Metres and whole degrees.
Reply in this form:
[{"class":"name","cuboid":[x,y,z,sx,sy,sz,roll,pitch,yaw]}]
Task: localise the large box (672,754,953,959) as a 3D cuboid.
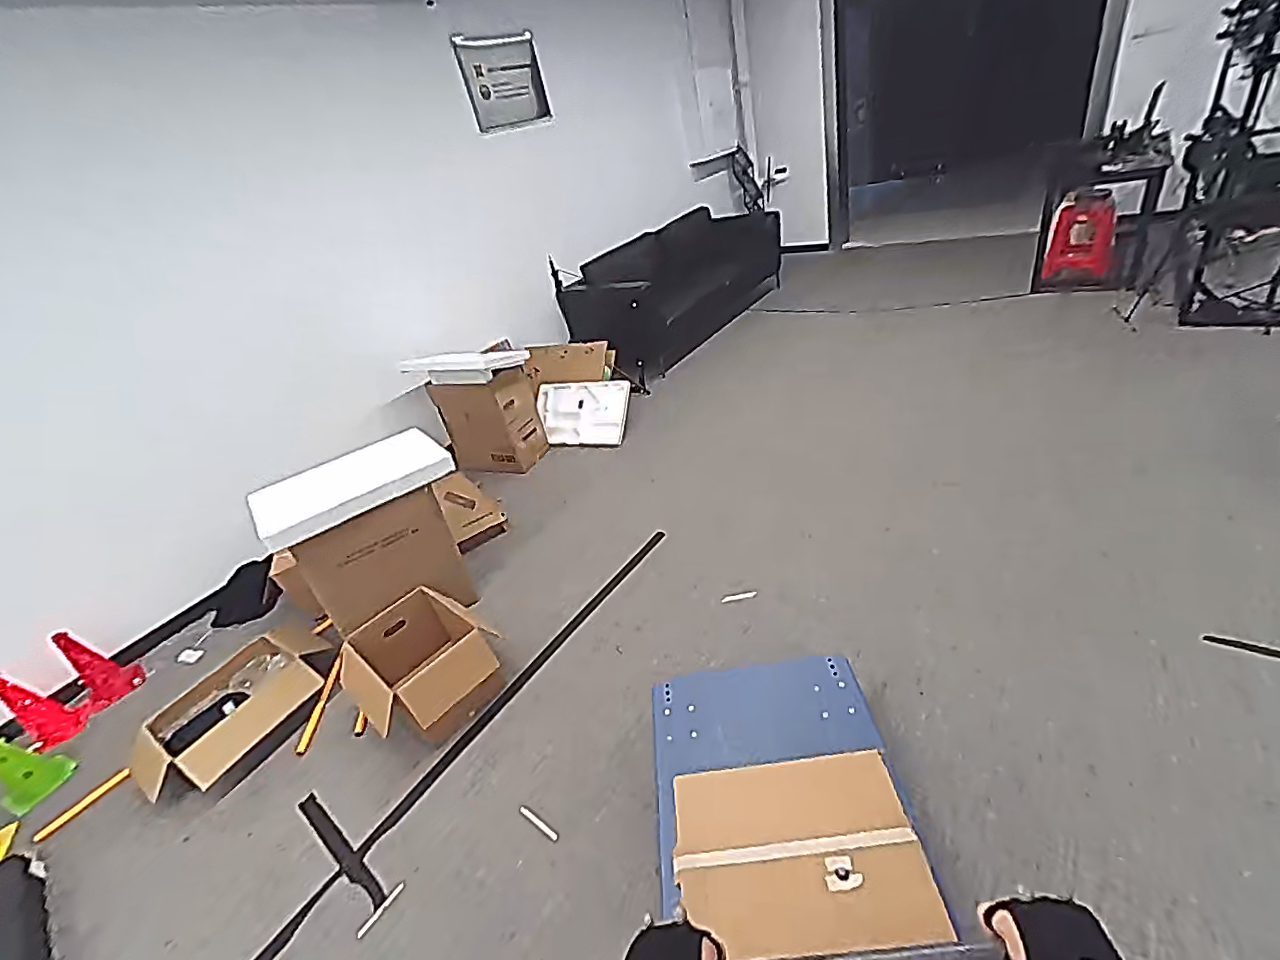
[{"class":"large box","cuboid":[0.287,0.766,1.004,0.408,0.320,0.320,-10,32,5]}]
